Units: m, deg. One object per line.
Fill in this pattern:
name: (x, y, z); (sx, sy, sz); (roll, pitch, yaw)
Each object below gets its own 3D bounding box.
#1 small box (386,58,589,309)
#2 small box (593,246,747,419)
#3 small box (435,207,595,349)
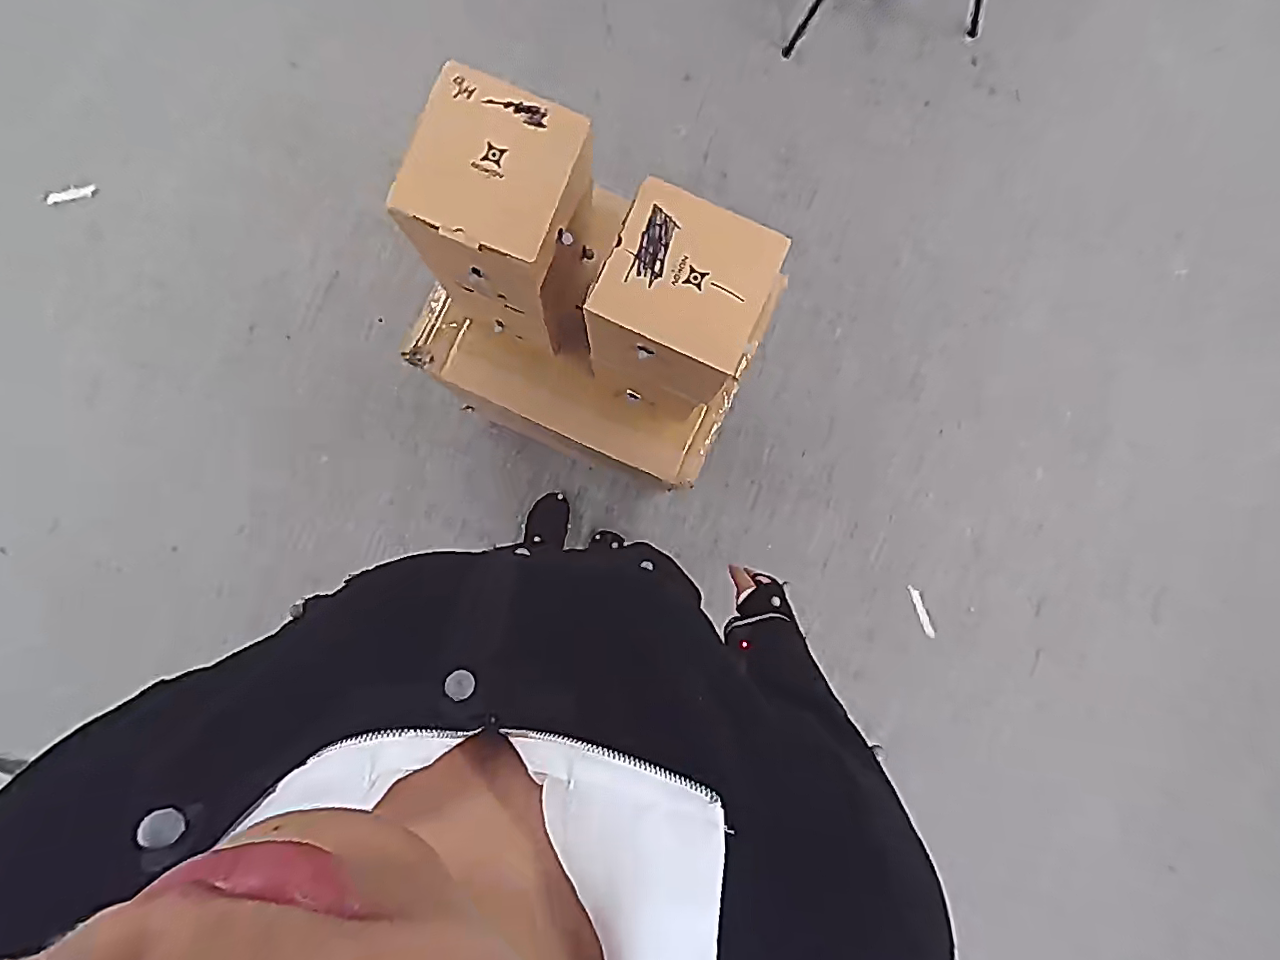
small box: (-0.164, -0.333, 0.648); (0.168, 0.176, 0.179); (22, 87, -3)
small box: (0.039, -0.211, 0.823); (0.168, 0.176, 0.179); (24, 88, 0)
small box: (-0.177, -0.324, 0.812); (0.168, 0.176, 0.179); (23, 87, -4)
